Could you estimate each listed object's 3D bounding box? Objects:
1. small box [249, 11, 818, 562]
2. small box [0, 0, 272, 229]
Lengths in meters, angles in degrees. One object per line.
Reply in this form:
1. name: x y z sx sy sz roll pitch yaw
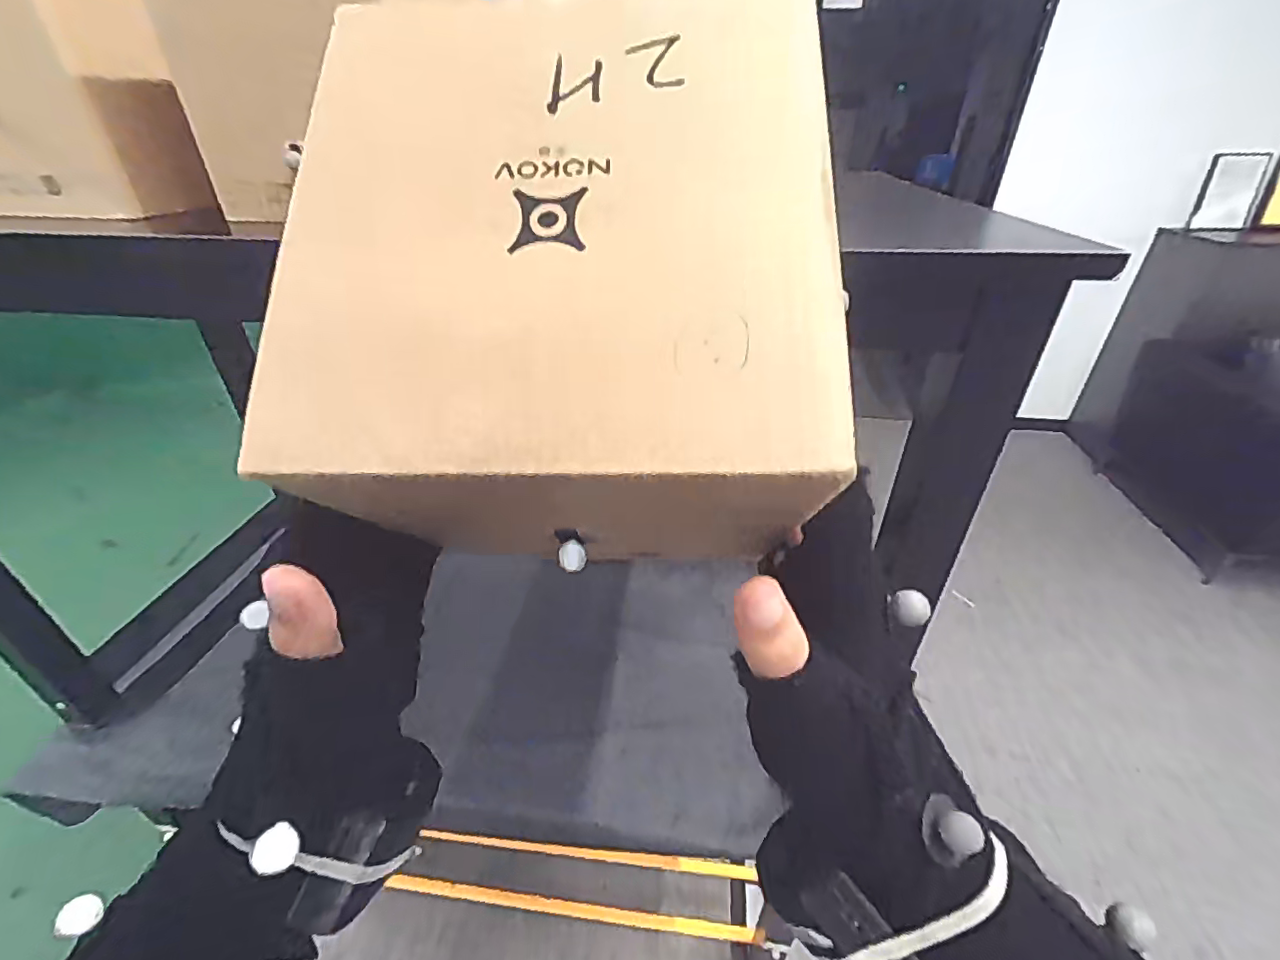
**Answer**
1. small box: -0.024 -0.058 0.248 0.168 0.176 0.179 0 74 4
2. small box: -0.472 -0.321 0.471 0.168 0.176 0.179 4 33 7
